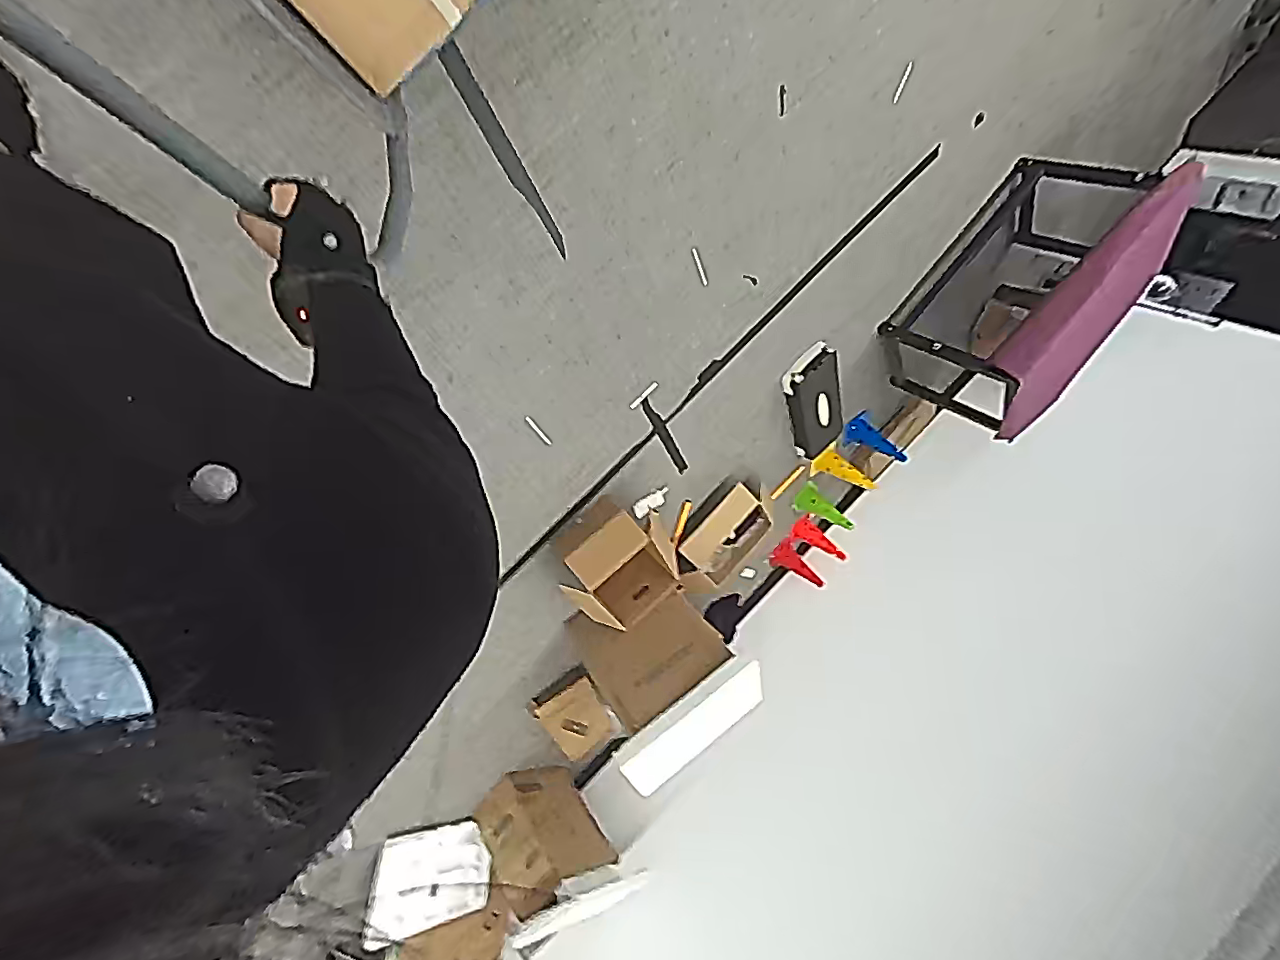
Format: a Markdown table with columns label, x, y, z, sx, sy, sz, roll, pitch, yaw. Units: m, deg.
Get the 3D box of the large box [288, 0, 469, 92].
| label | x | y | z | sx | sy | sz | roll | pitch | yaw |
| --- | --- | --- | --- | --- | --- | --- | --- | --- | --- |
| large box | -0.423 | -0.847 | 0.704 | 0.320 | 0.320 | 0.408 | -34 | 145 | 15 |
